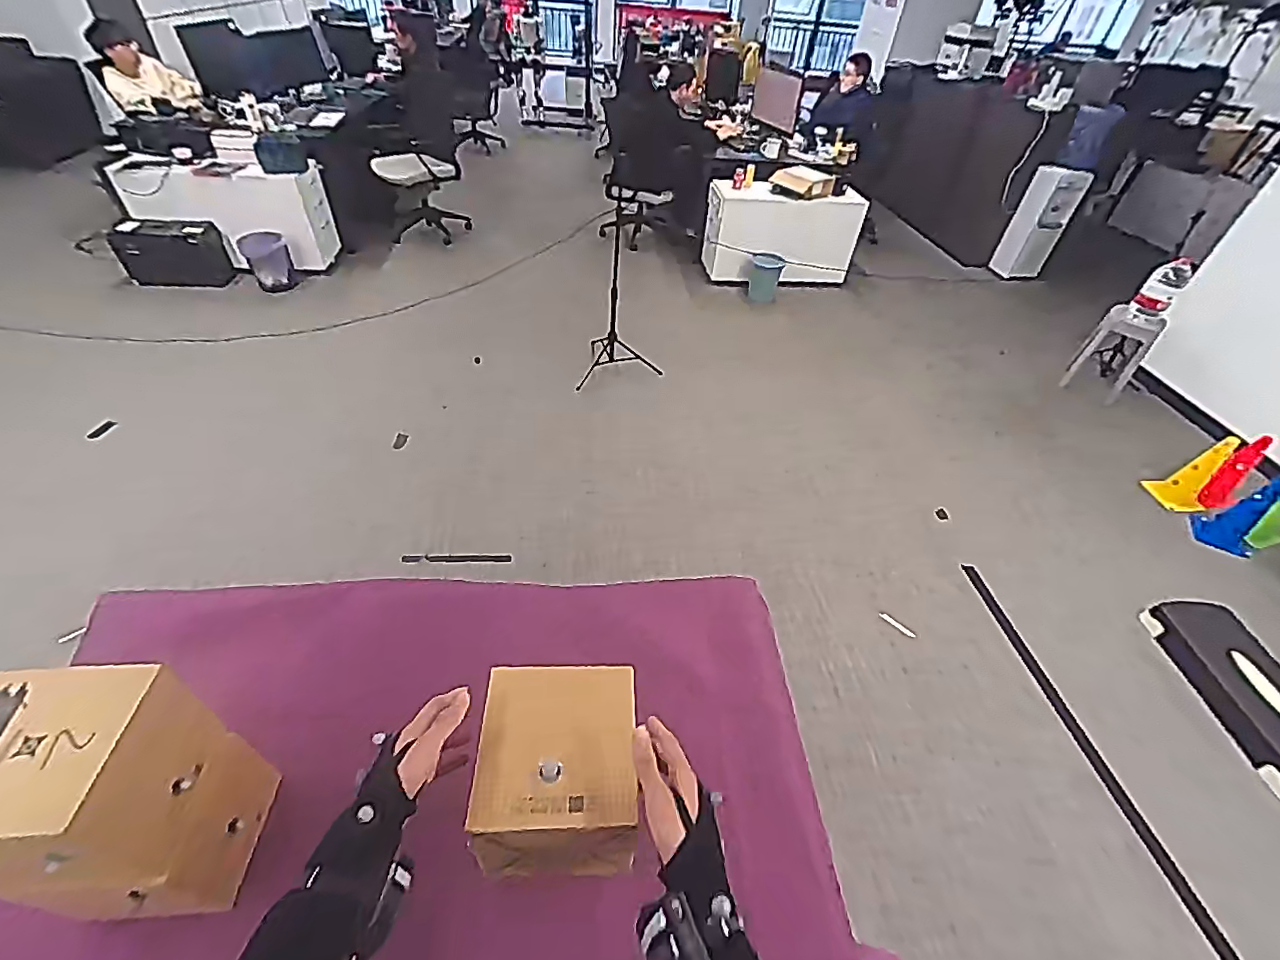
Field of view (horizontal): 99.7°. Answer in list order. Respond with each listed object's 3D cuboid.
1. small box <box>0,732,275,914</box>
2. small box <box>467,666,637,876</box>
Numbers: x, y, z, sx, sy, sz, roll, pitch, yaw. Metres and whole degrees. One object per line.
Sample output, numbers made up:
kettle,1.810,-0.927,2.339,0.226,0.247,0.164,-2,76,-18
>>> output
small box,-0.616,0.440,0.696,0.179,0.176,0.168,1,43,-5
small box,-0.092,0.333,0.617,0.168,0.179,0.176,1,42,-5
